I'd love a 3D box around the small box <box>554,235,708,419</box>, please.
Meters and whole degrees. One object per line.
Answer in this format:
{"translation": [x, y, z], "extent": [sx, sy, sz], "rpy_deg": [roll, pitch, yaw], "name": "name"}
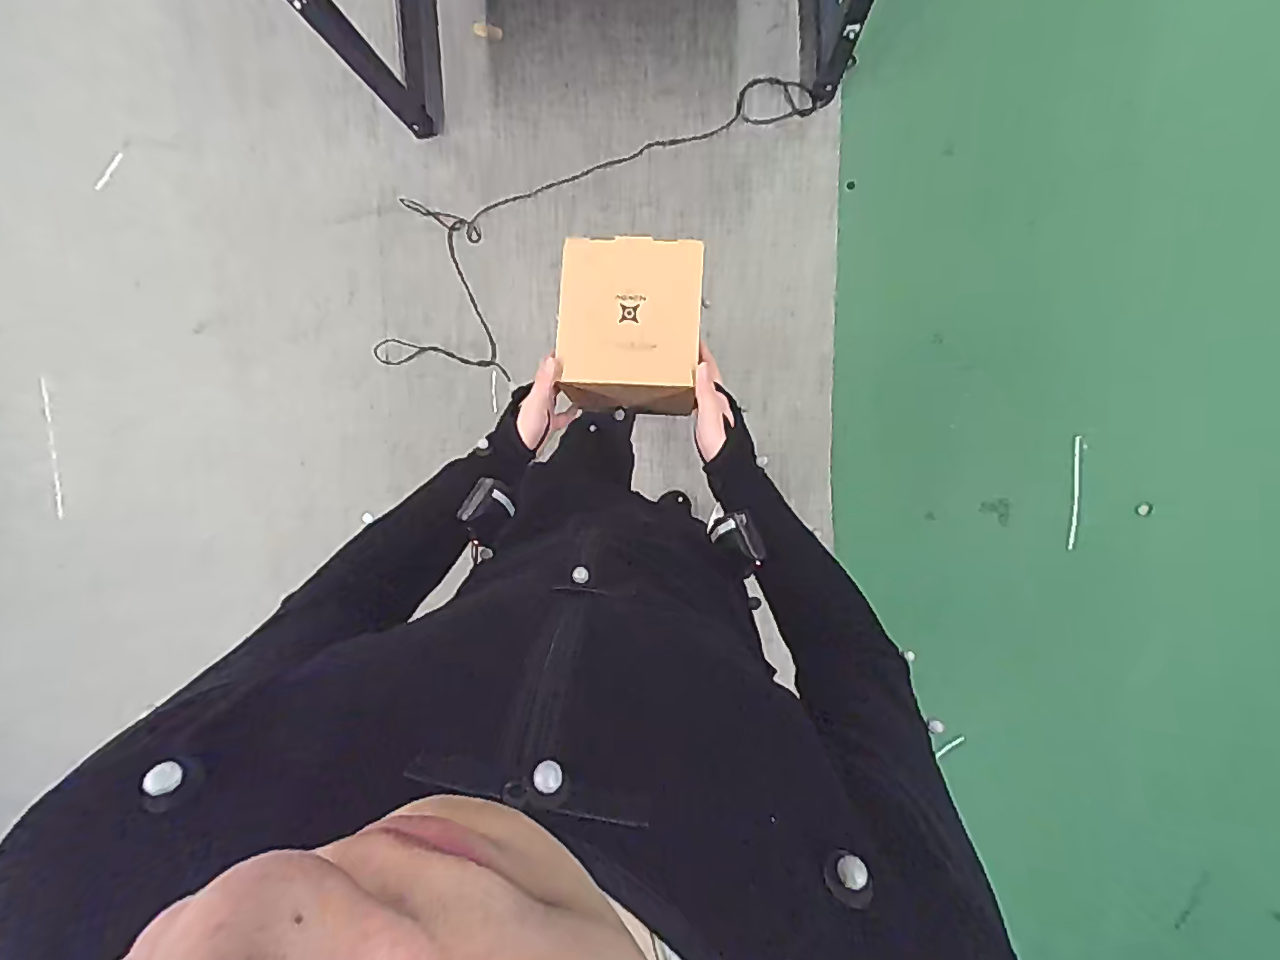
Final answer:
{"translation": [-0.006, -0.184, 0.690], "extent": [0.168, 0.176, 0.179], "rpy_deg": [3, 85, 3], "name": "small box"}
